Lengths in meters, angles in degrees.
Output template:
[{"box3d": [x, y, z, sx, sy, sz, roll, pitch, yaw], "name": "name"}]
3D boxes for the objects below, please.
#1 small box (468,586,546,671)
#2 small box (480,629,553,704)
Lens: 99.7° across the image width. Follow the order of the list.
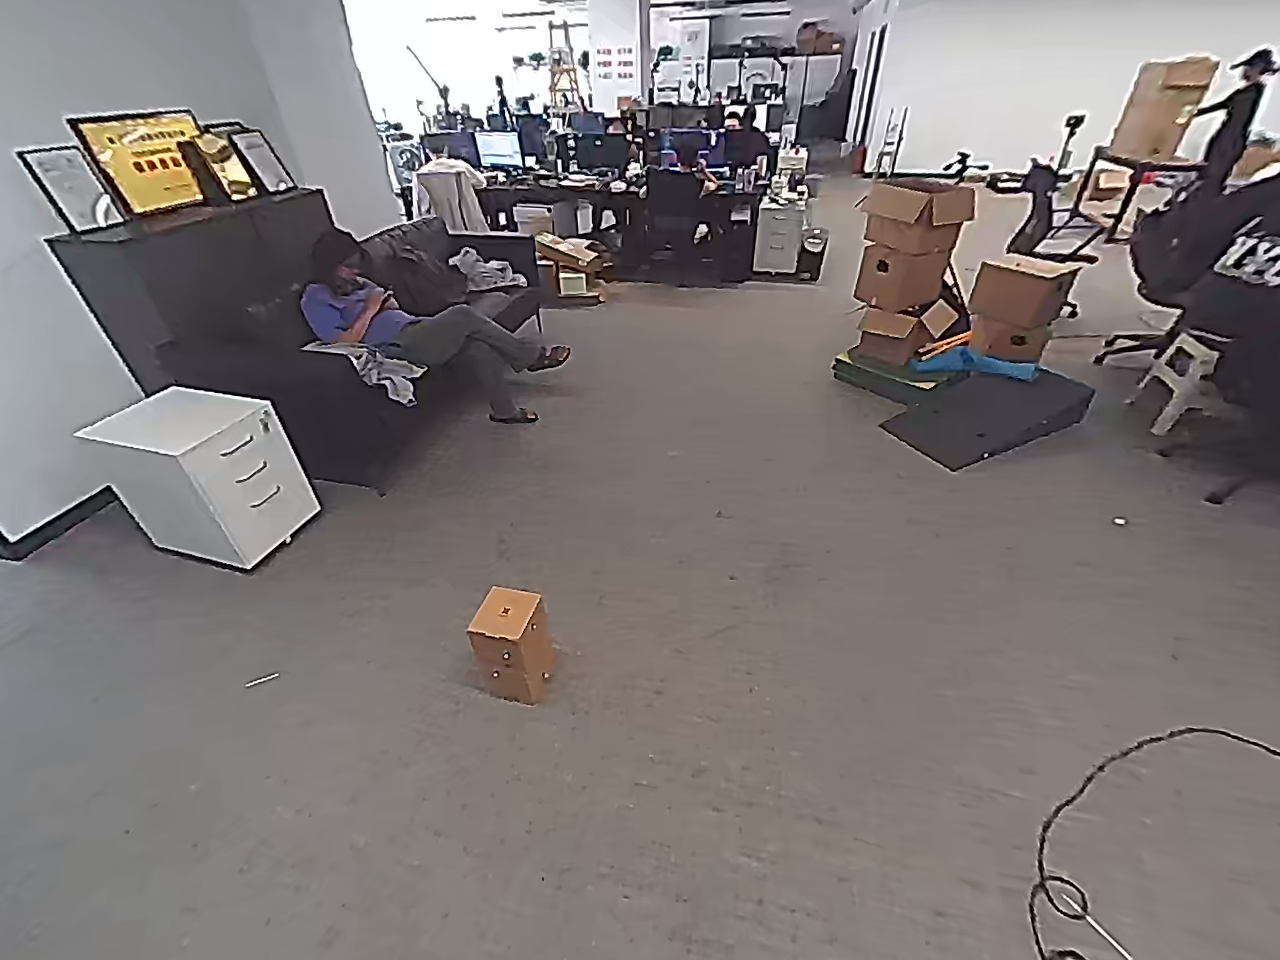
[{"box3d": [-0.399, 0.457, 1.661, 0.168, 0.176, 0.179, 7, 36, 12], "name": "small box"}, {"box3d": [-0.393, 0.589, 1.756, 0.168, 0.176, 0.179, 8, 37, 14], "name": "small box"}]
